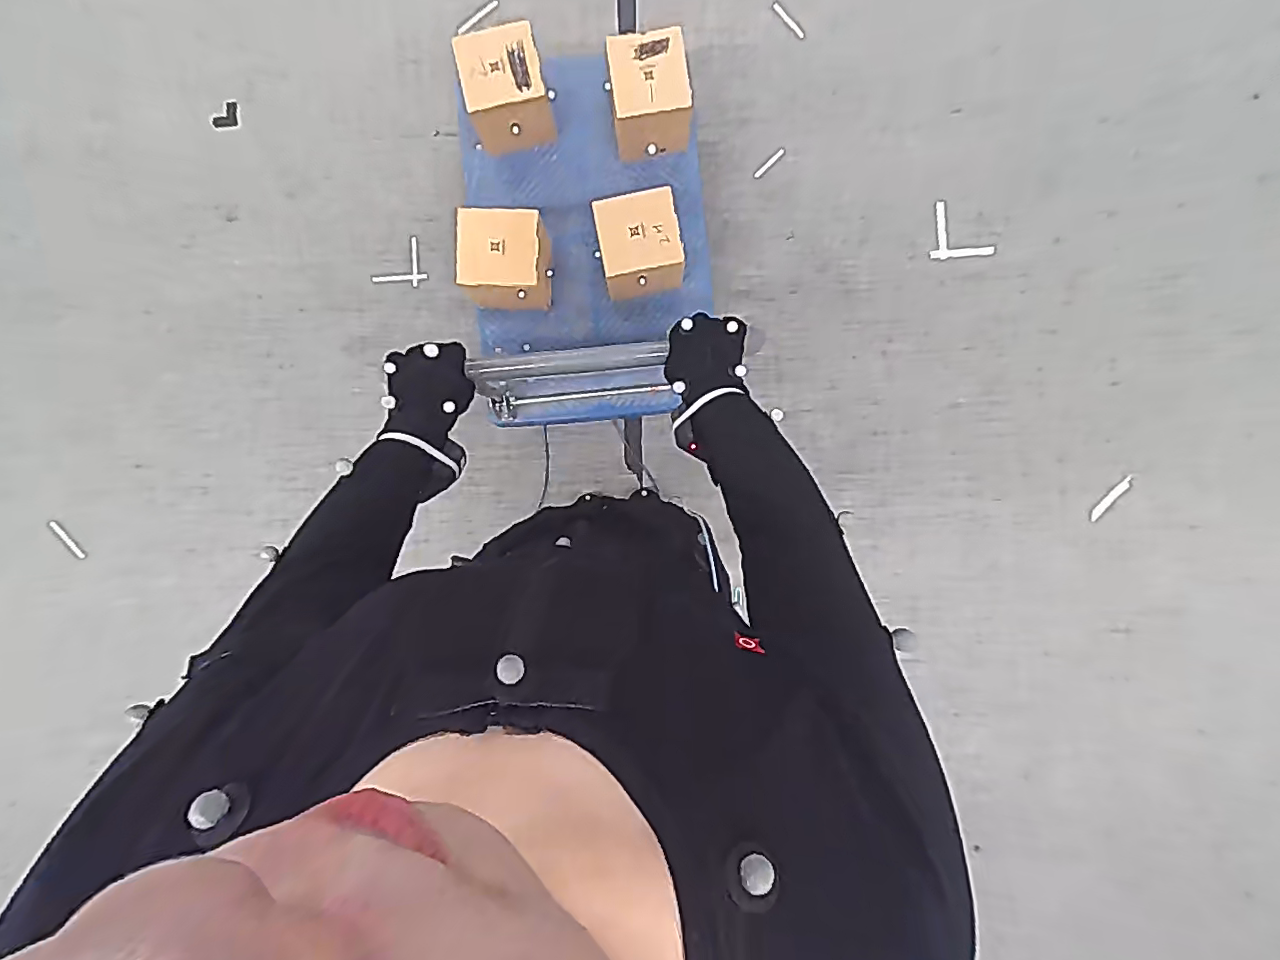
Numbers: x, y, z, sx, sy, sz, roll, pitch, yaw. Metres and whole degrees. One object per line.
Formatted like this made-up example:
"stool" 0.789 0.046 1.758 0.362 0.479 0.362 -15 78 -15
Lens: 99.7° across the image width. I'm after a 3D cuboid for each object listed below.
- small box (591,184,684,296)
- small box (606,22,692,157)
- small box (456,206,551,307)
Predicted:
"small box" -0.002 -0.533 1.226 0.179 0.176 0.168 -11 91 1
"small box" 0.019 -0.872 1.221 0.168 0.176 0.179 -9 92 1
"small box" -0.304 -0.502 1.233 0.179 0.176 0.168 1 90 0
